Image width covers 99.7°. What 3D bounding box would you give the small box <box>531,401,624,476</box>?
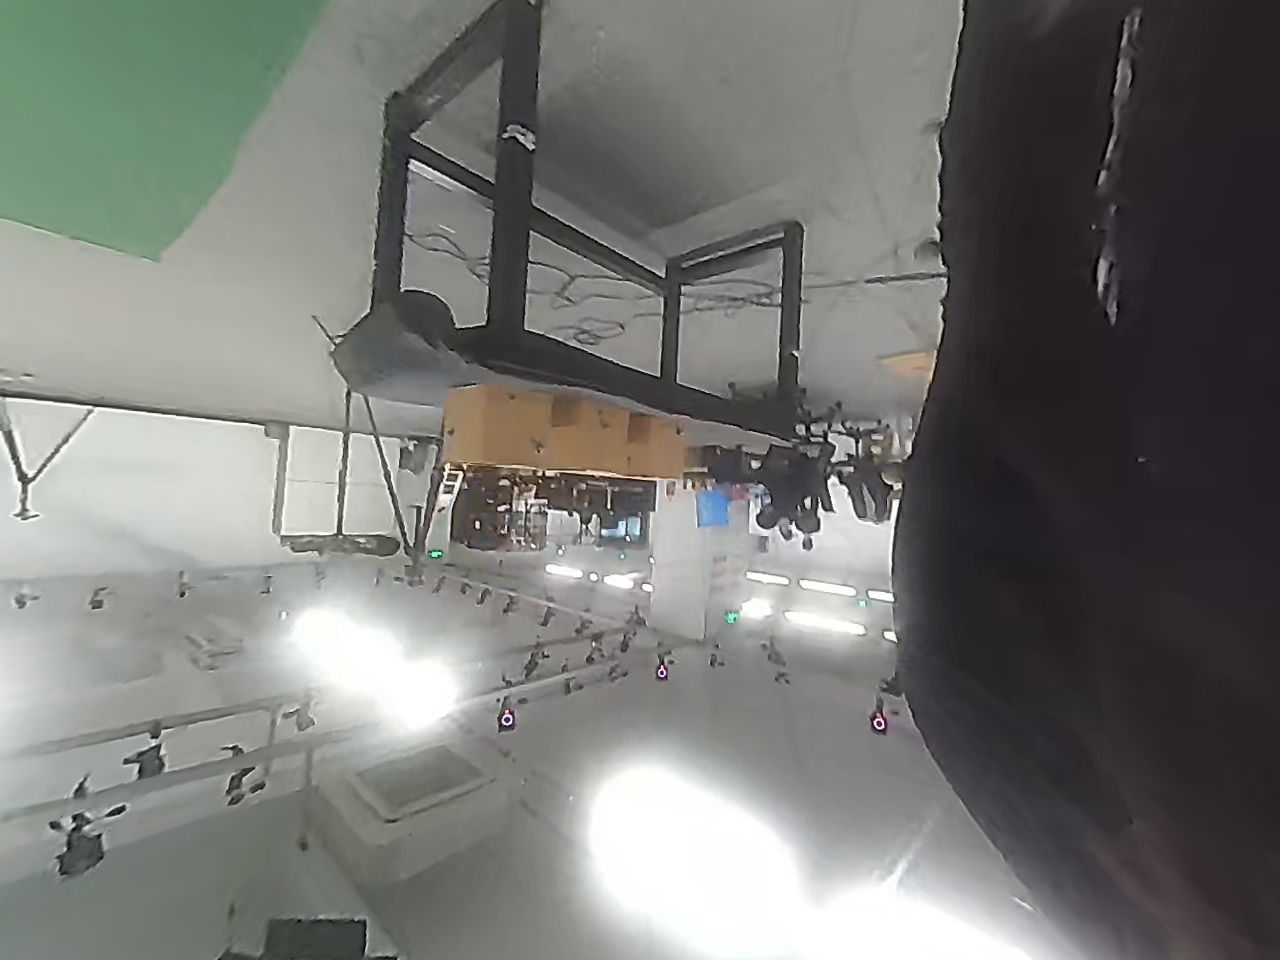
[{"bbox_3d":[-0.155,-0.102,1.376,0.179,0.176,0.168,1,178,42],"label":"small box"}]

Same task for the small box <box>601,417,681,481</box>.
[{"bbox_3d":[0.006,-0.087,1.558,0.179,0.176,0.168,3,178,40],"label":"small box"}]
